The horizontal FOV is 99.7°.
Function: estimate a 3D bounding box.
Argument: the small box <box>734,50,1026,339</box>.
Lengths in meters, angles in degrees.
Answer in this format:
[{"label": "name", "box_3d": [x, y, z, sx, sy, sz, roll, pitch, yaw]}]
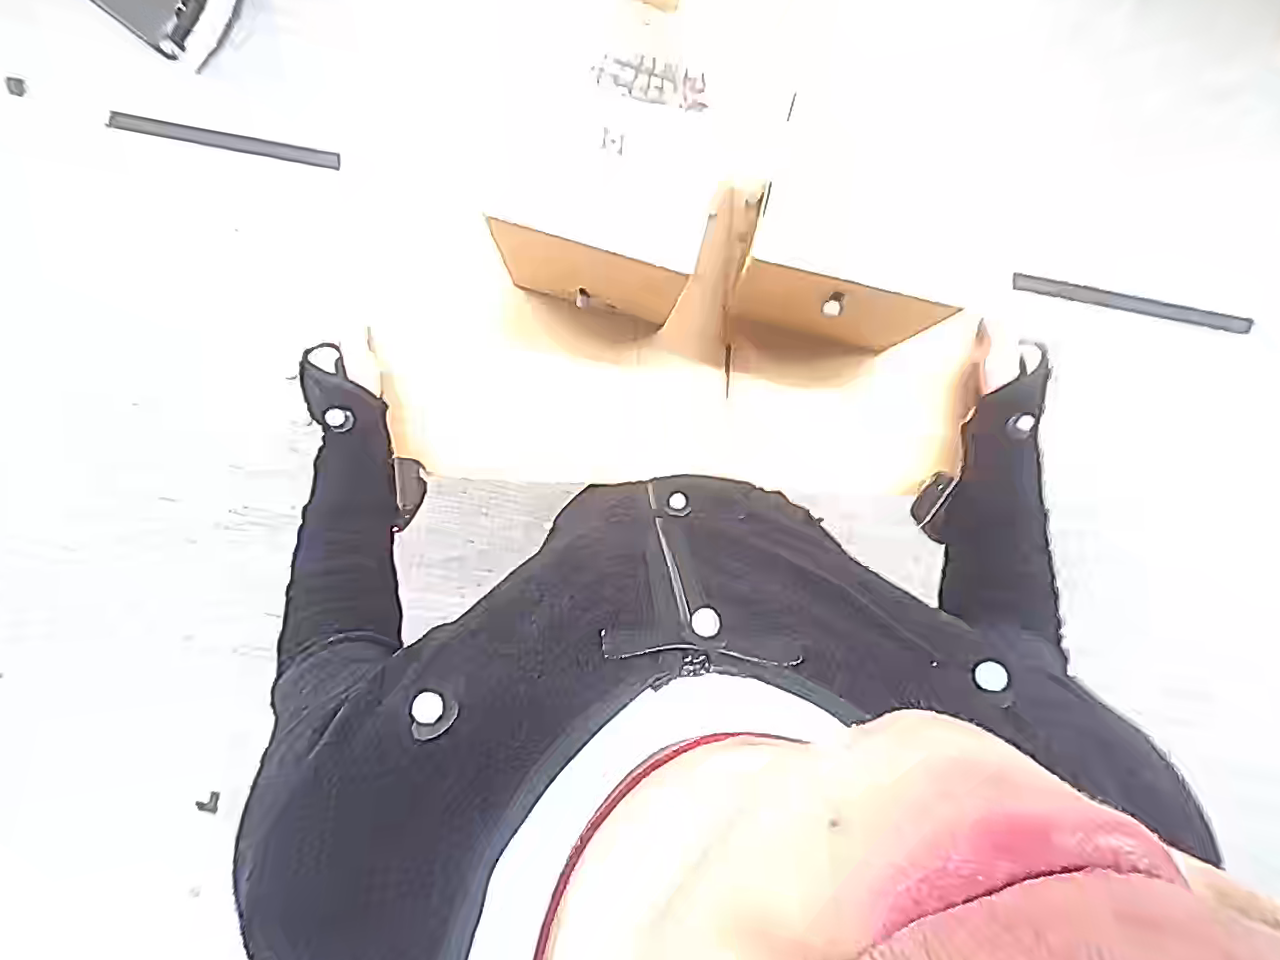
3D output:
[{"label": "small box", "box_3d": [0.199, -0.240, 0.503, 0.179, 0.176, 0.168, 14, 93, 3]}]
